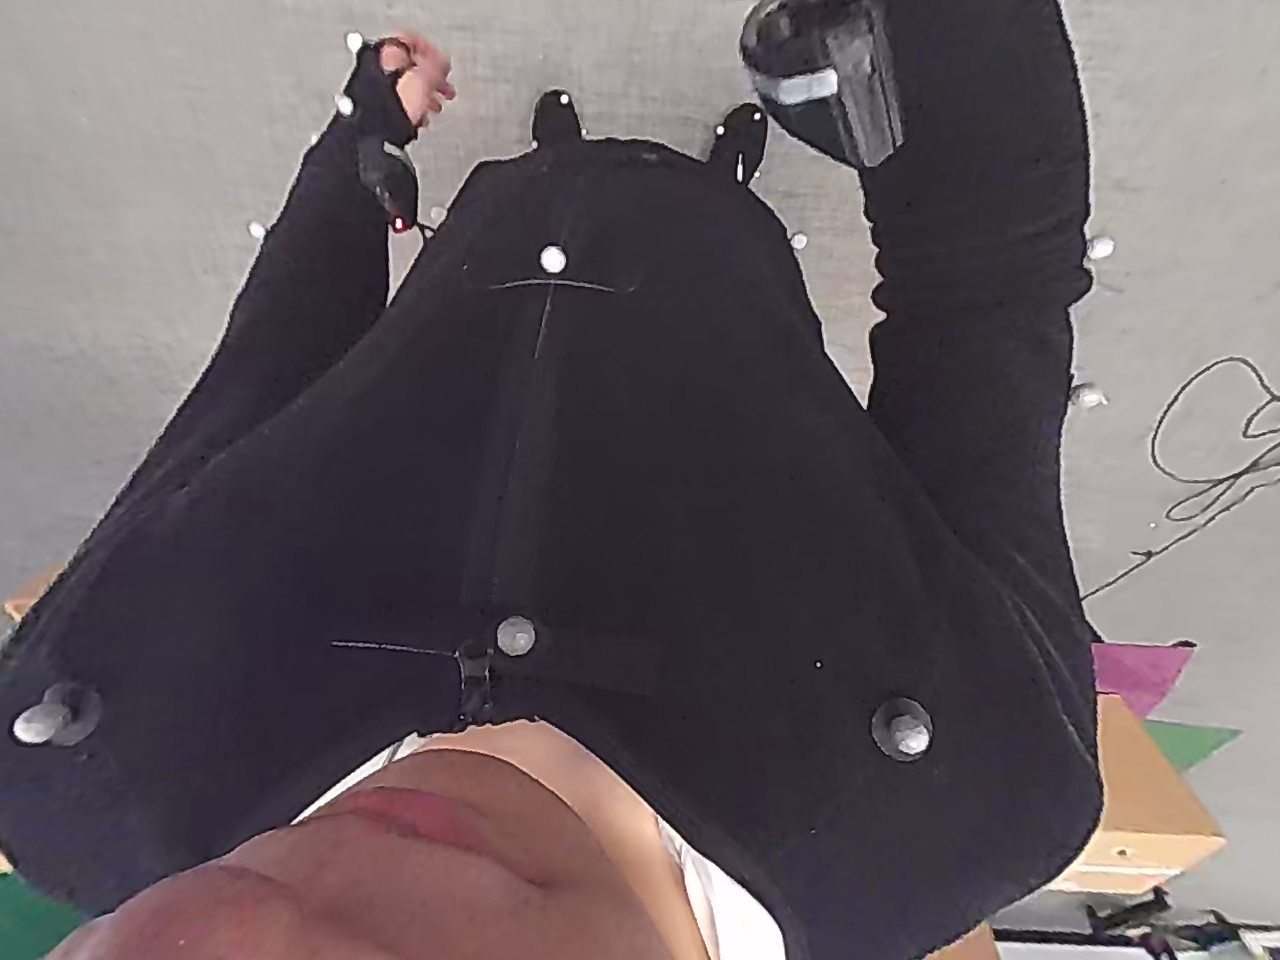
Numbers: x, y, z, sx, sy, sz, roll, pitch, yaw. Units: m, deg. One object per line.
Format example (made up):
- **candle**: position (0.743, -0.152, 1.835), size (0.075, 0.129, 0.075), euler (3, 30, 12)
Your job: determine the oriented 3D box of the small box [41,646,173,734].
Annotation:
- **small box**: position (-1.460, 0.581, 1.504), size (0.179, 0.176, 0.168), euler (2, 125, 3)
